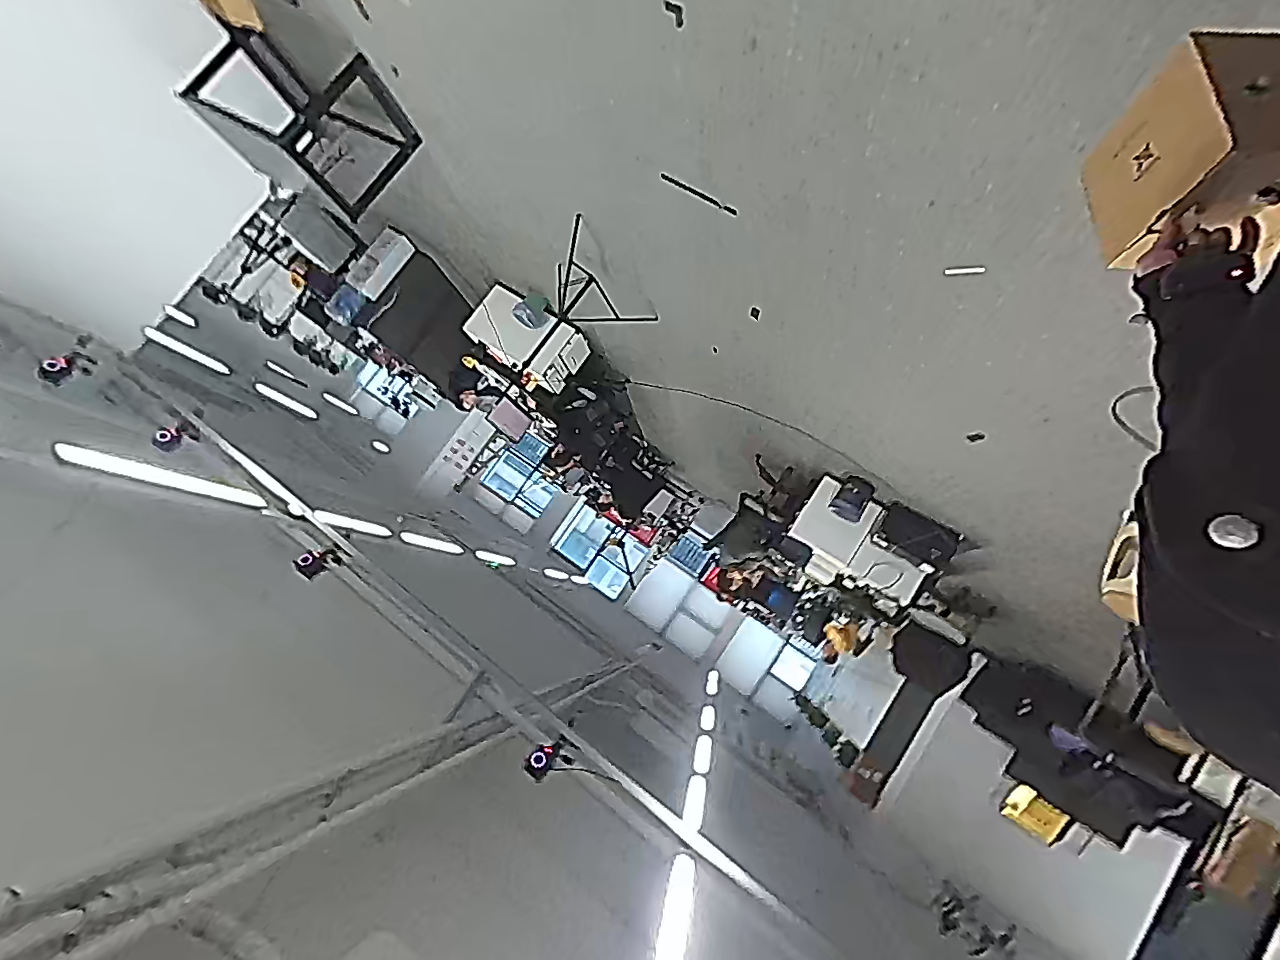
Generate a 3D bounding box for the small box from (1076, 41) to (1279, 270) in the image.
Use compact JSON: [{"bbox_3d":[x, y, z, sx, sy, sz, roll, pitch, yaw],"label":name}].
[{"bbox_3d":[0.667,-0.367,0.629,0.176,0.179,0.168,5,160,3],"label":"small box"}]
